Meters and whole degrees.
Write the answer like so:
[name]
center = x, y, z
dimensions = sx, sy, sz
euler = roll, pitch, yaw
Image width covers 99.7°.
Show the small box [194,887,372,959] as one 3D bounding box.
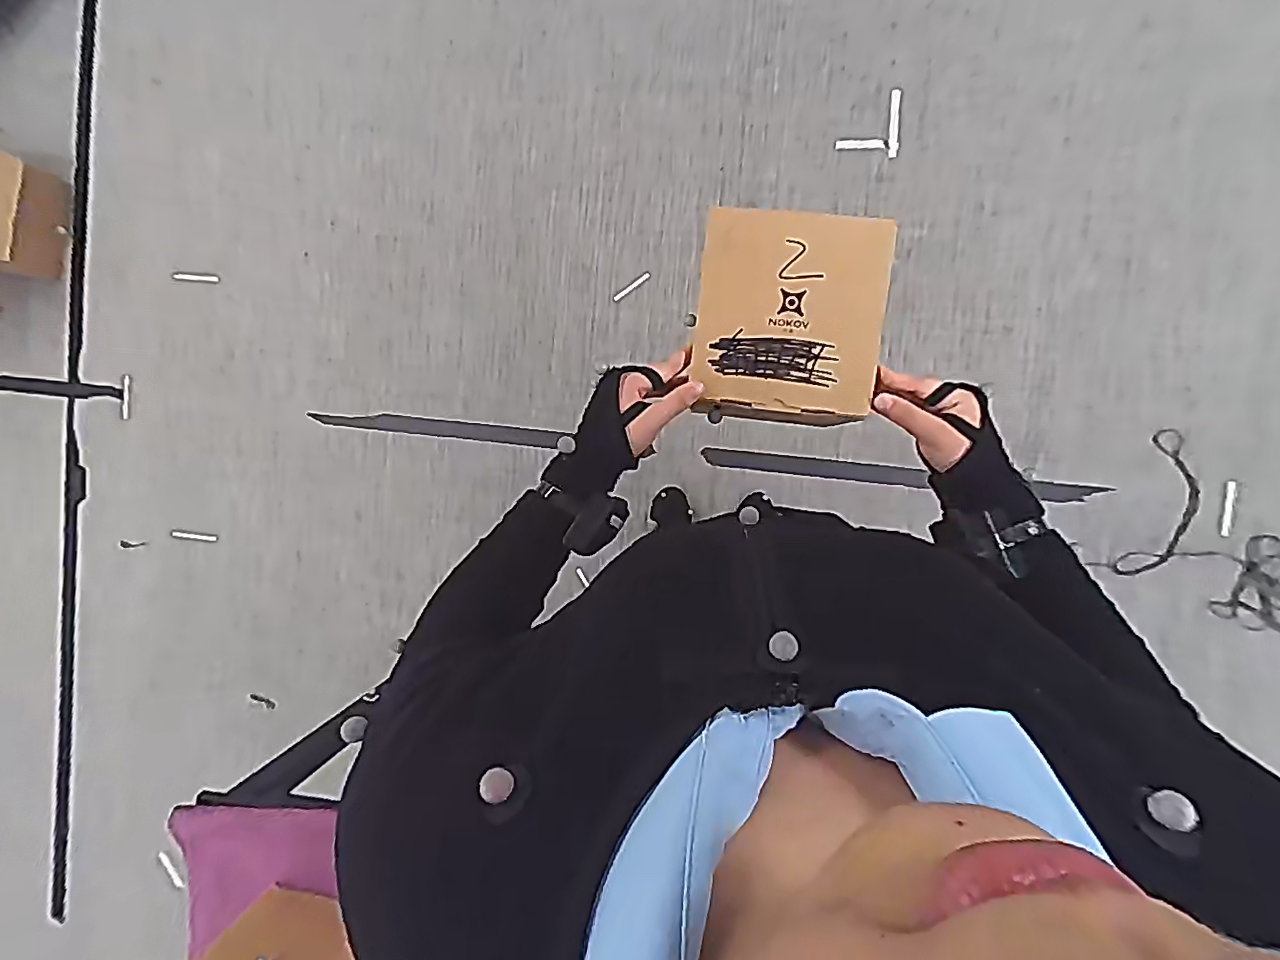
[small box]
center = -0.527, 0.742, 0.786
dimensions = 0.179, 0.176, 0.168
euler = 8, 94, 6
